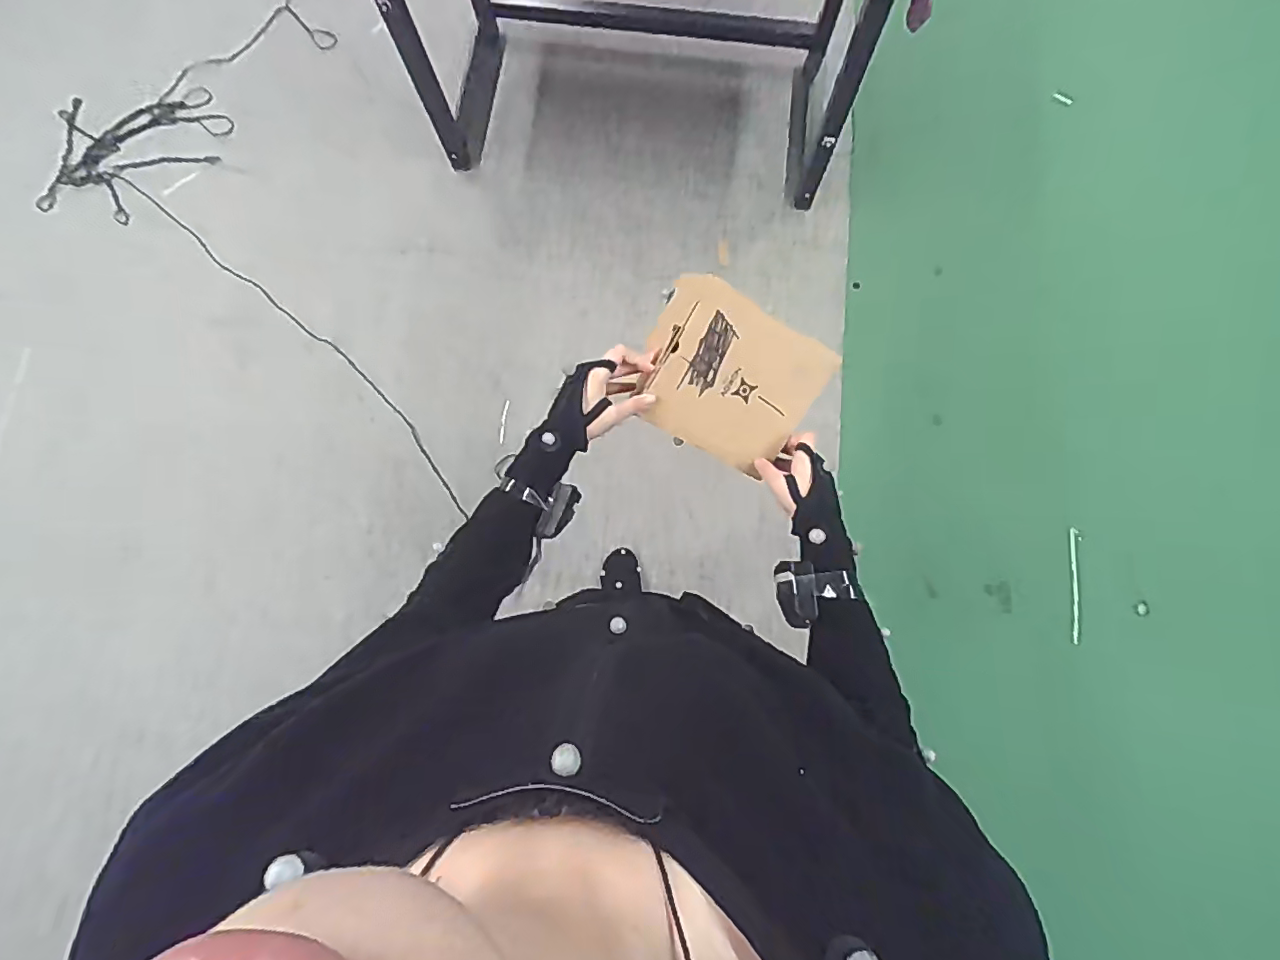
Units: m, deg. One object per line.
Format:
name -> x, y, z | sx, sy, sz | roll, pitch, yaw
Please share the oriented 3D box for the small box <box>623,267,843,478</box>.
small box -> 0.094, -0.131, 0.646 | 0.179, 0.176, 0.168 | 27, 104, -17
